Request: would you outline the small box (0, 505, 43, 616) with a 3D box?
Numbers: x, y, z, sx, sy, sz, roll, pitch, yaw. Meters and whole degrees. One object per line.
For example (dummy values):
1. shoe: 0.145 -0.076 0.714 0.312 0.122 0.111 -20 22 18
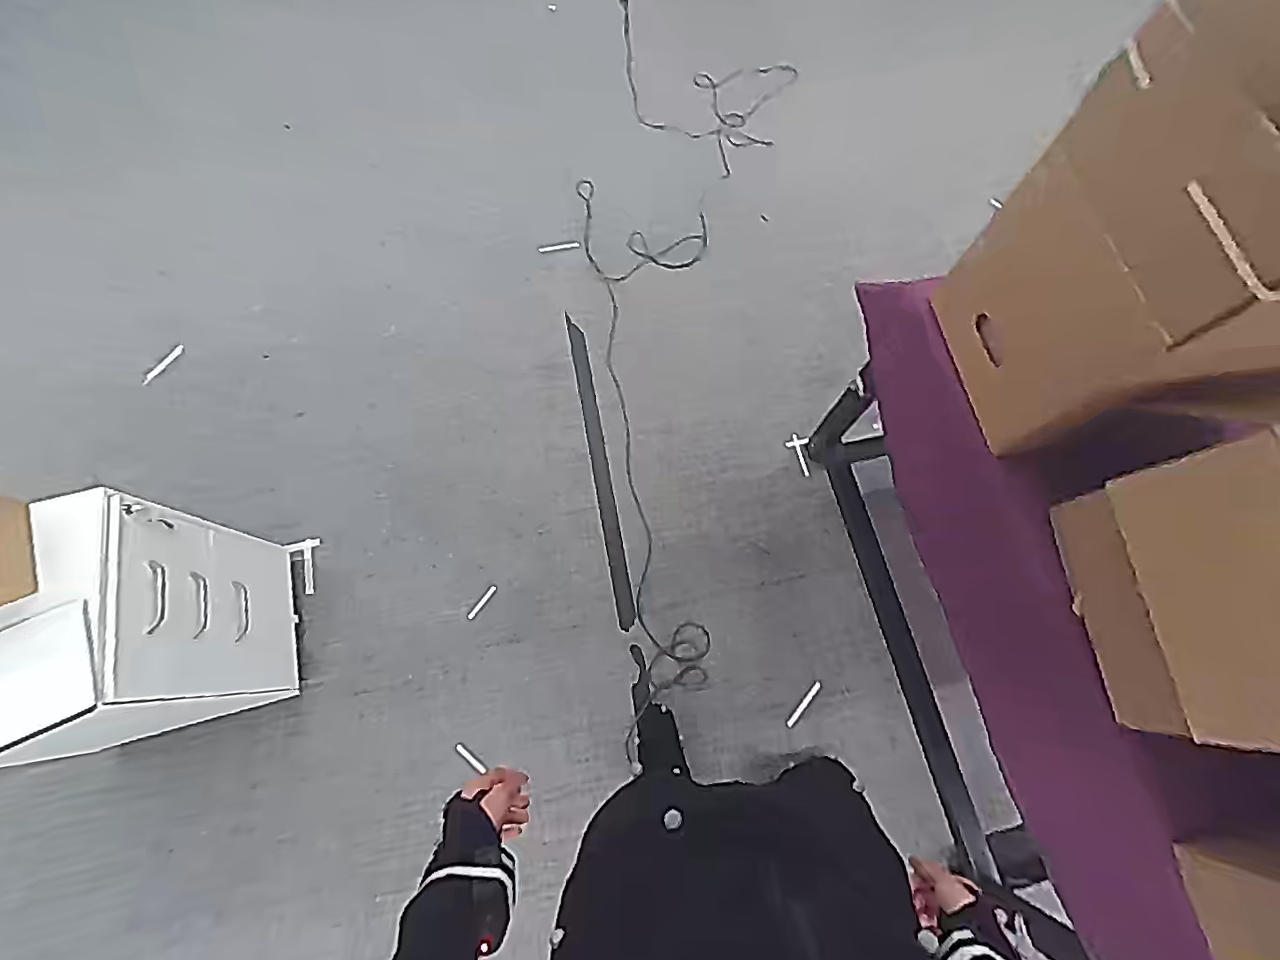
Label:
1. small box: -1.123 0.133 0.859 0.168 0.176 0.179 -23 74 -7
